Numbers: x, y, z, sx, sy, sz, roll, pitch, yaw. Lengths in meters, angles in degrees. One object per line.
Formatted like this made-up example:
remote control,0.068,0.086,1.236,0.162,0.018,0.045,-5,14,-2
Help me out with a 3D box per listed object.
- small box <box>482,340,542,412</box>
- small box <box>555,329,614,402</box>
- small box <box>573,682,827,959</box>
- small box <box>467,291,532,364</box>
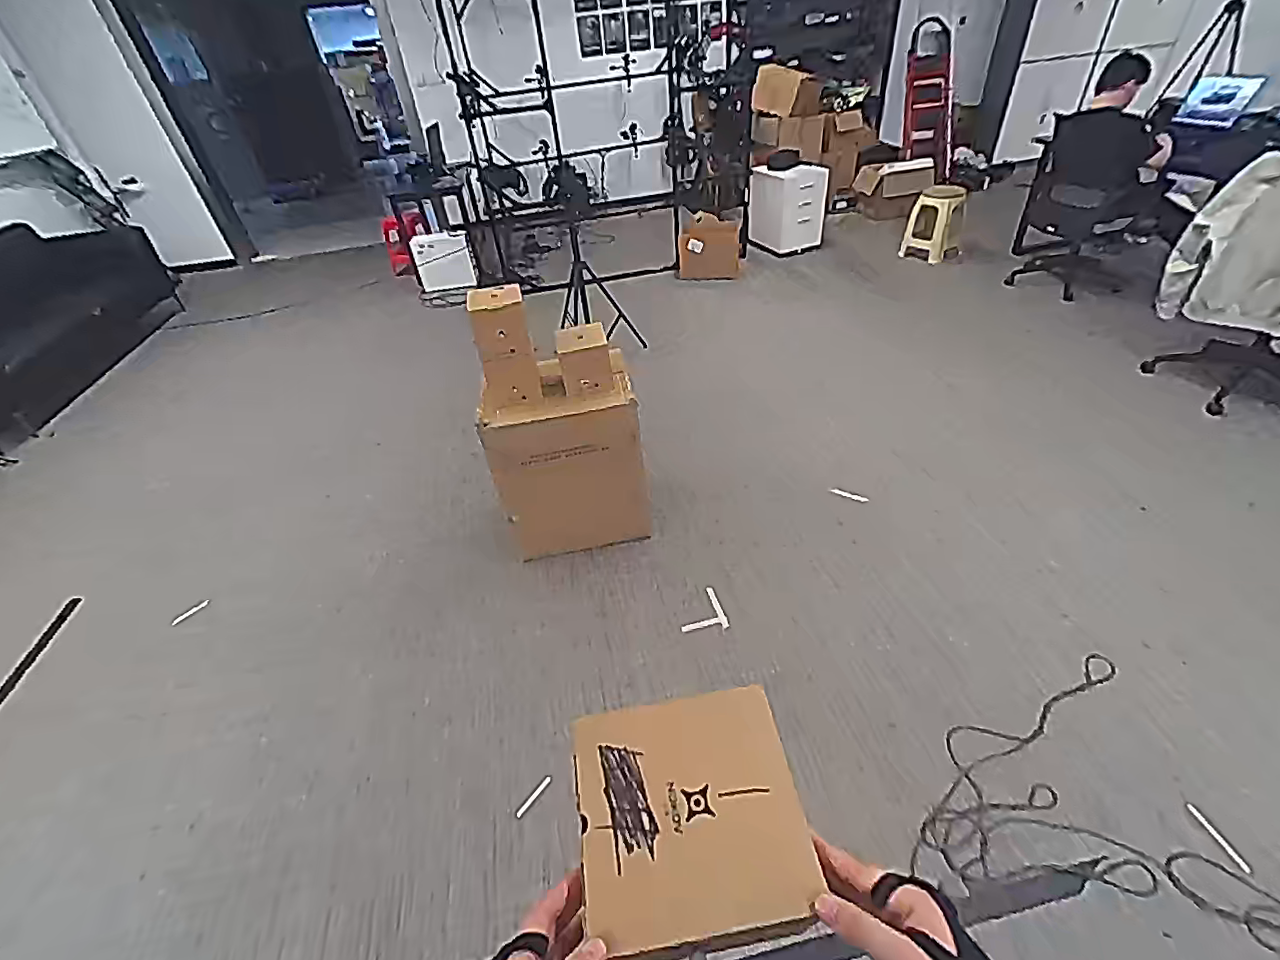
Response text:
small box,-0.429,-0.350,1.820,0.168,0.176,0.179,-11,39,-7
small box,-0.189,-0.386,1.833,0.168,0.176,0.179,-13,41,-4
small box,0.044,0.309,0.487,0.179,0.176,0.168,-9,46,-3
small box,-0.444,-0.479,1.719,0.168,0.176,0.179,-12,40,-8
